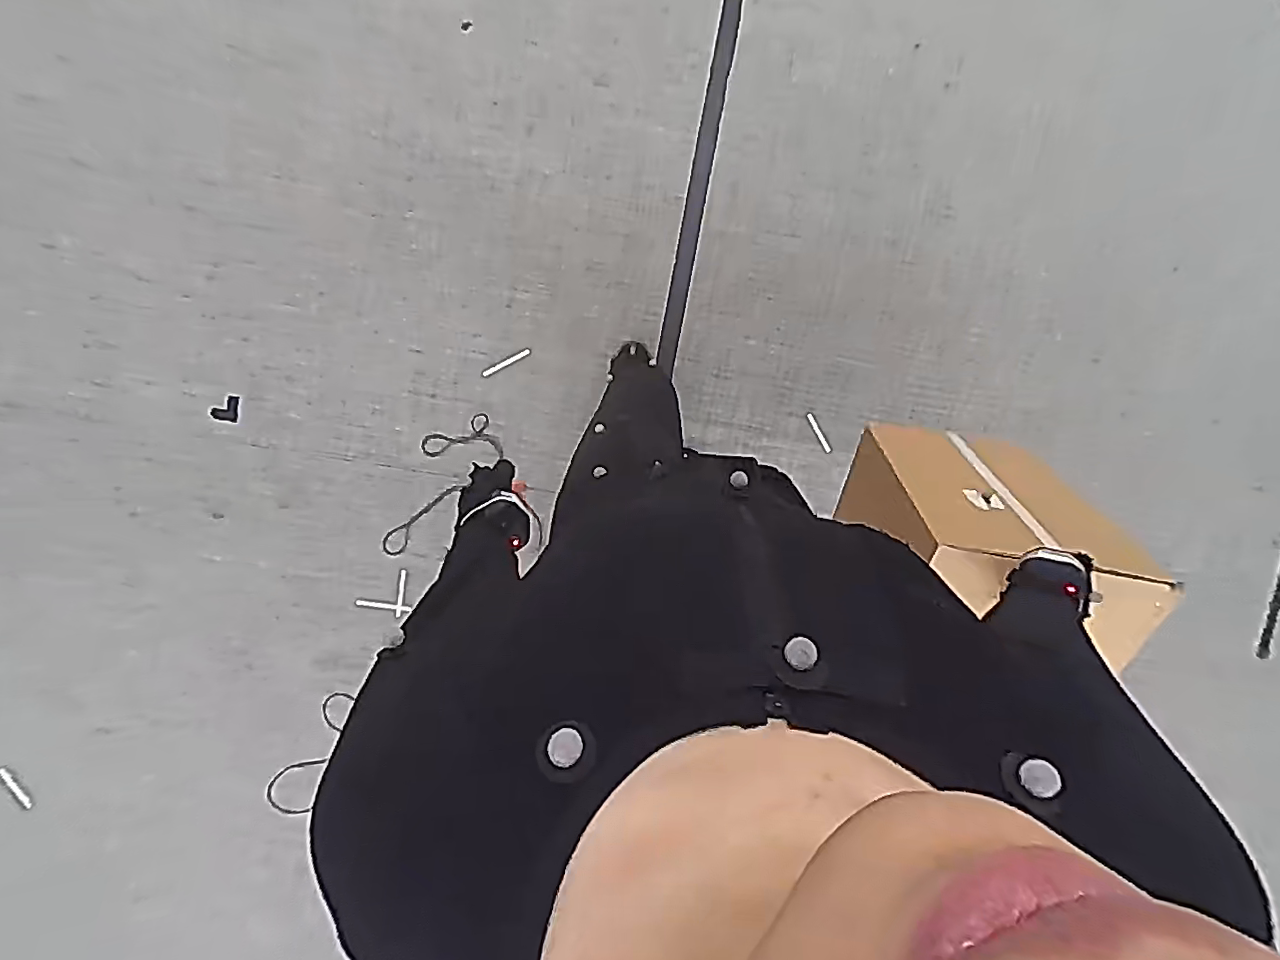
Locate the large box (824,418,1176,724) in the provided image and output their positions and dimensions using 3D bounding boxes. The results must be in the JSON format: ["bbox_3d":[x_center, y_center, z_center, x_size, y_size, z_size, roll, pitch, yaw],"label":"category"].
[{"bbox_3d":[0.548,0.135,0.948,0.320,0.408,0.320,10,122,3],"label":"large box"}]
